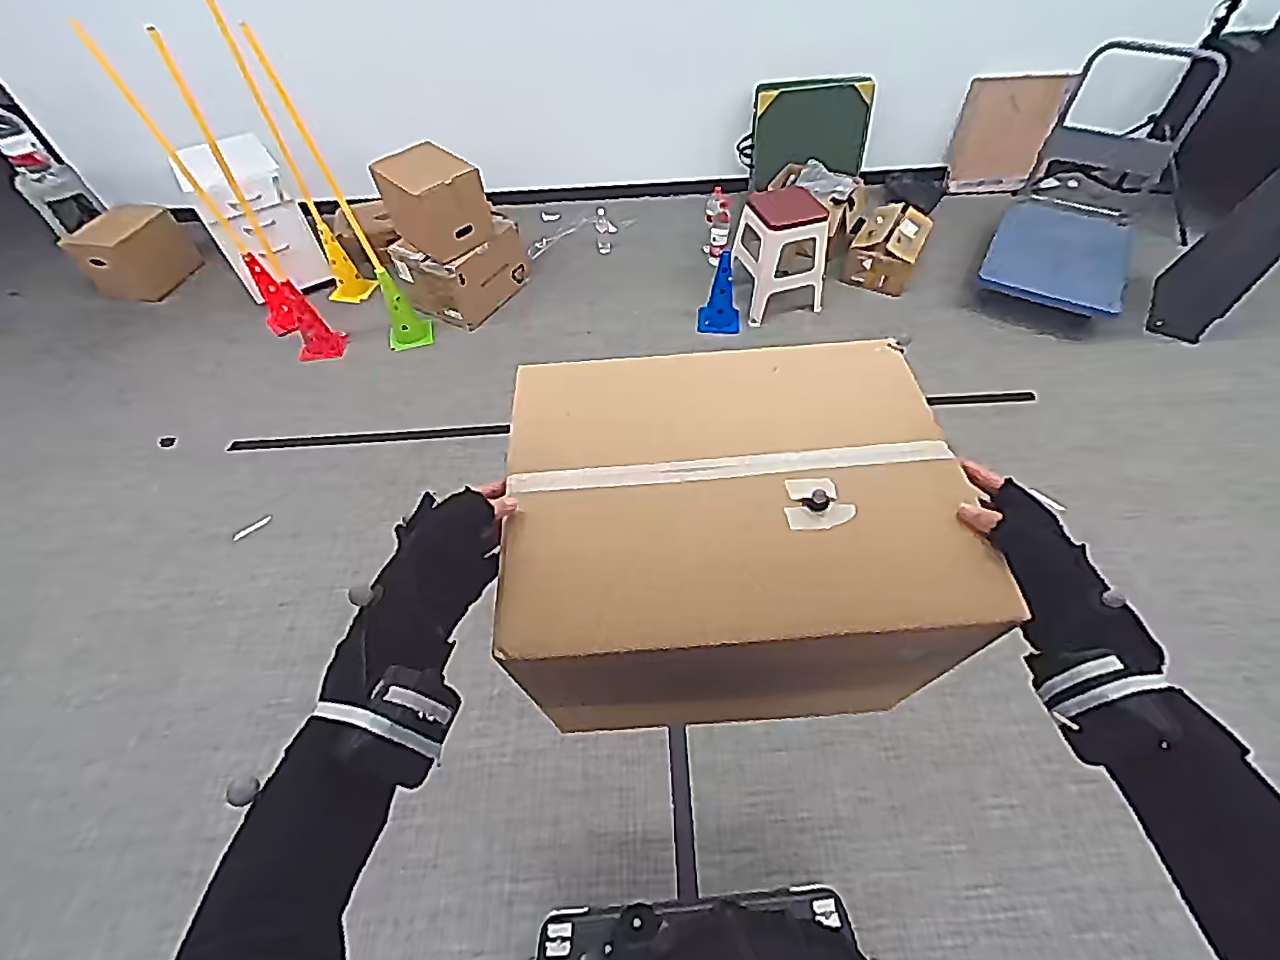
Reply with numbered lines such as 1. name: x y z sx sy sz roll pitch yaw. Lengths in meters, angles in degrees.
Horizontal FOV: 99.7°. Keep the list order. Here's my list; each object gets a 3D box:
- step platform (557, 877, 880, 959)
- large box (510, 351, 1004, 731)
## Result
1. step platform: 0.162 1.057 1.155 0.684 0.204 0.286 -5 53 -2
2. large box: 0.086 0.083 0.629 0.408 0.320 0.320 -4 56 -1
